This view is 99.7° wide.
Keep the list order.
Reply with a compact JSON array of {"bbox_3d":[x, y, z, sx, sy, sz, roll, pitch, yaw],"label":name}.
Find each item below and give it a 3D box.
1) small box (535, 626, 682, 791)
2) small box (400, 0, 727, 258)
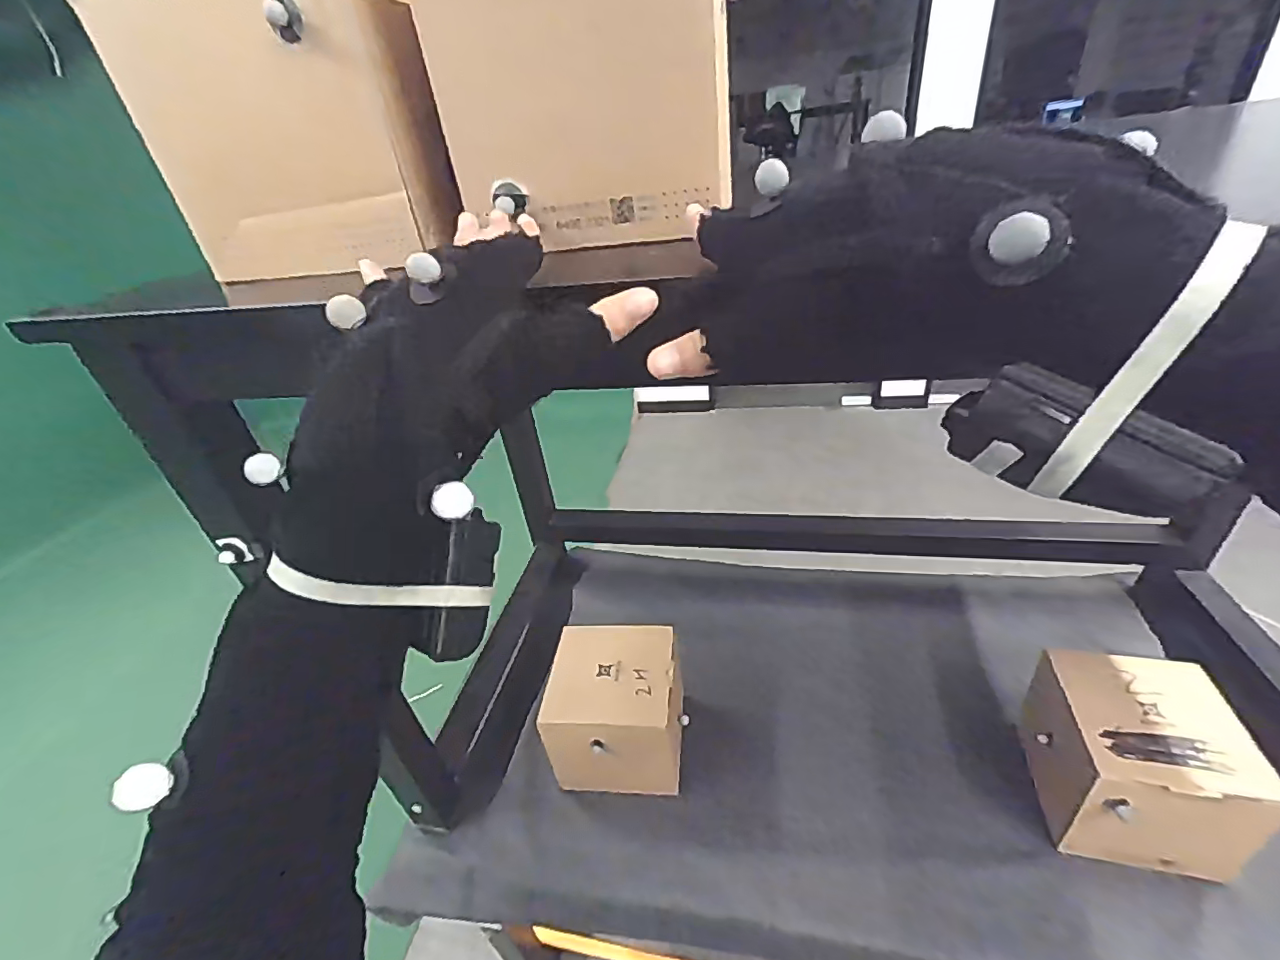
[{"bbox_3d":[-0.035,0.338,0.806,0.179,0.176,0.168,-2,34,9],"label":"small box"},{"bbox_3d":[-0.028,-0.257,0.374,0.168,0.176,0.179,0,33,12],"label":"small box"}]
